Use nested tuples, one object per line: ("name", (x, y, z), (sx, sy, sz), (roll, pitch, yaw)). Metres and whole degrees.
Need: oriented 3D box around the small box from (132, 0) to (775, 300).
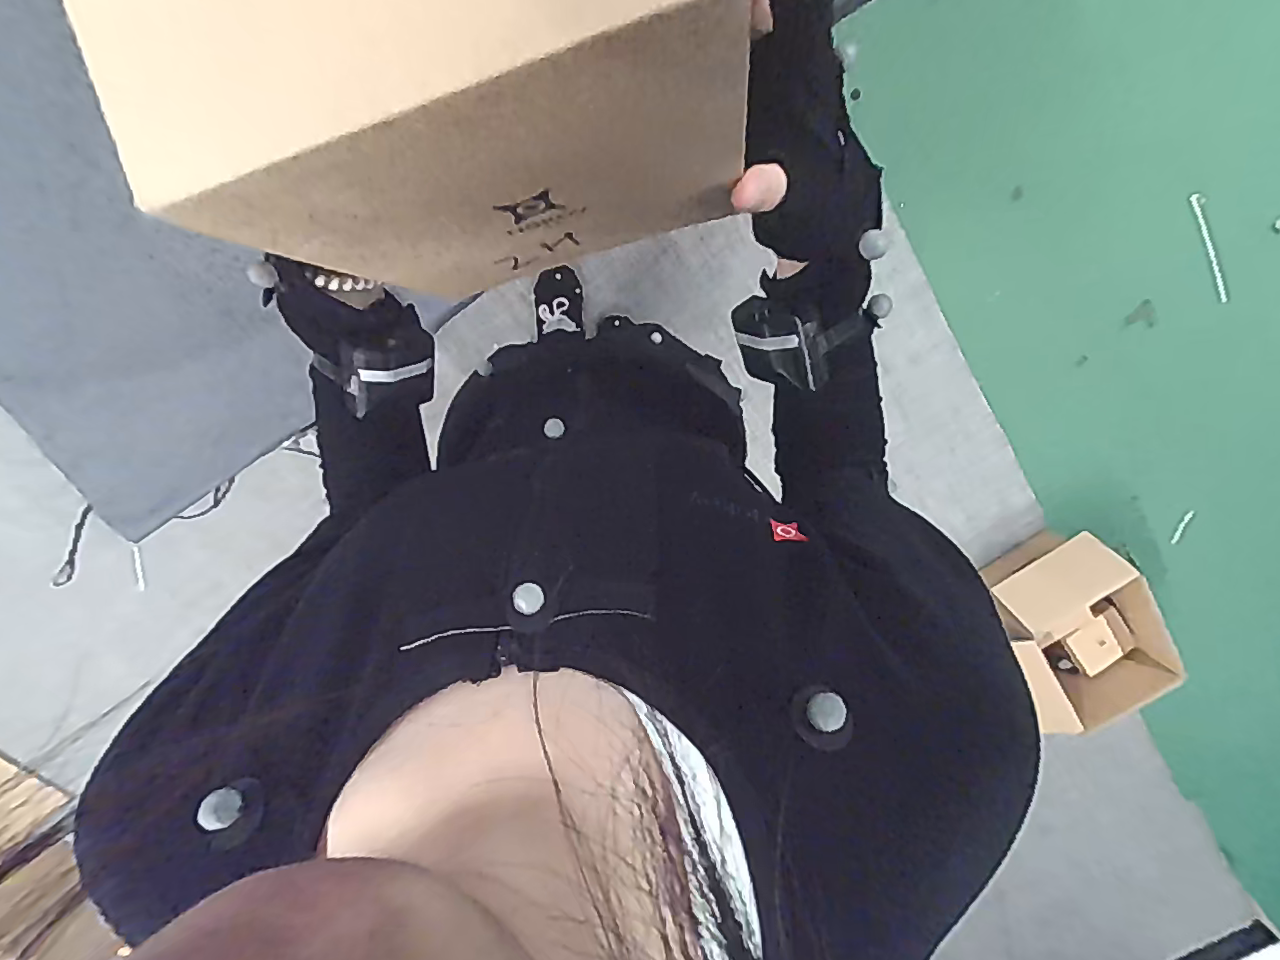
("small box", (-0.056, -0.184, 0.197), (0.168, 0.179, 0.176), (-12, 98, 11))
